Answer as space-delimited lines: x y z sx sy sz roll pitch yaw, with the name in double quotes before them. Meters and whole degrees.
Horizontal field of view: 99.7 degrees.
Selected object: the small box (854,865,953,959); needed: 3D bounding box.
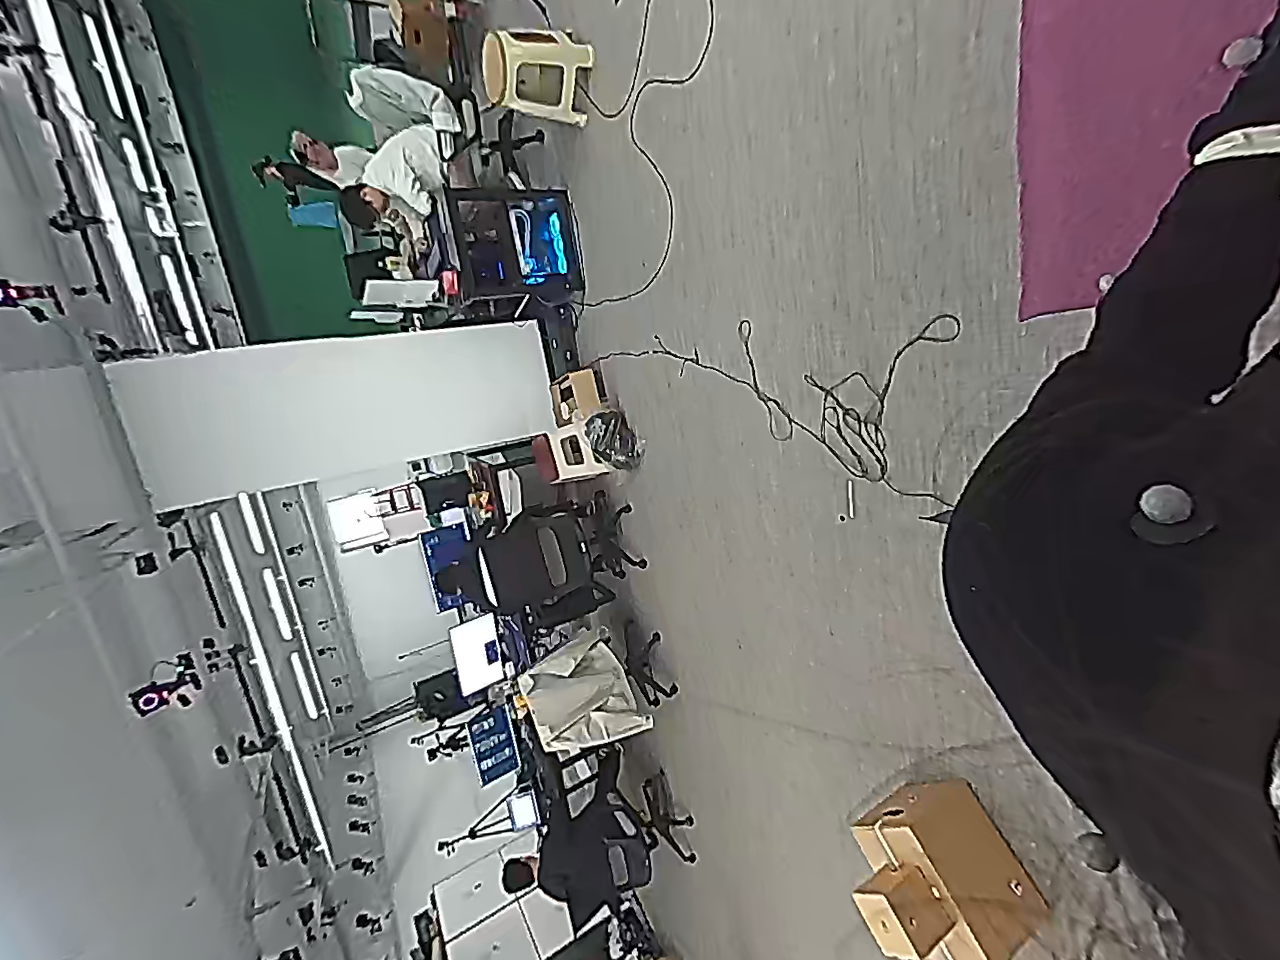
"small box" 0.810 1.321 1.656 0.179 0.176 0.168 62 148 25
